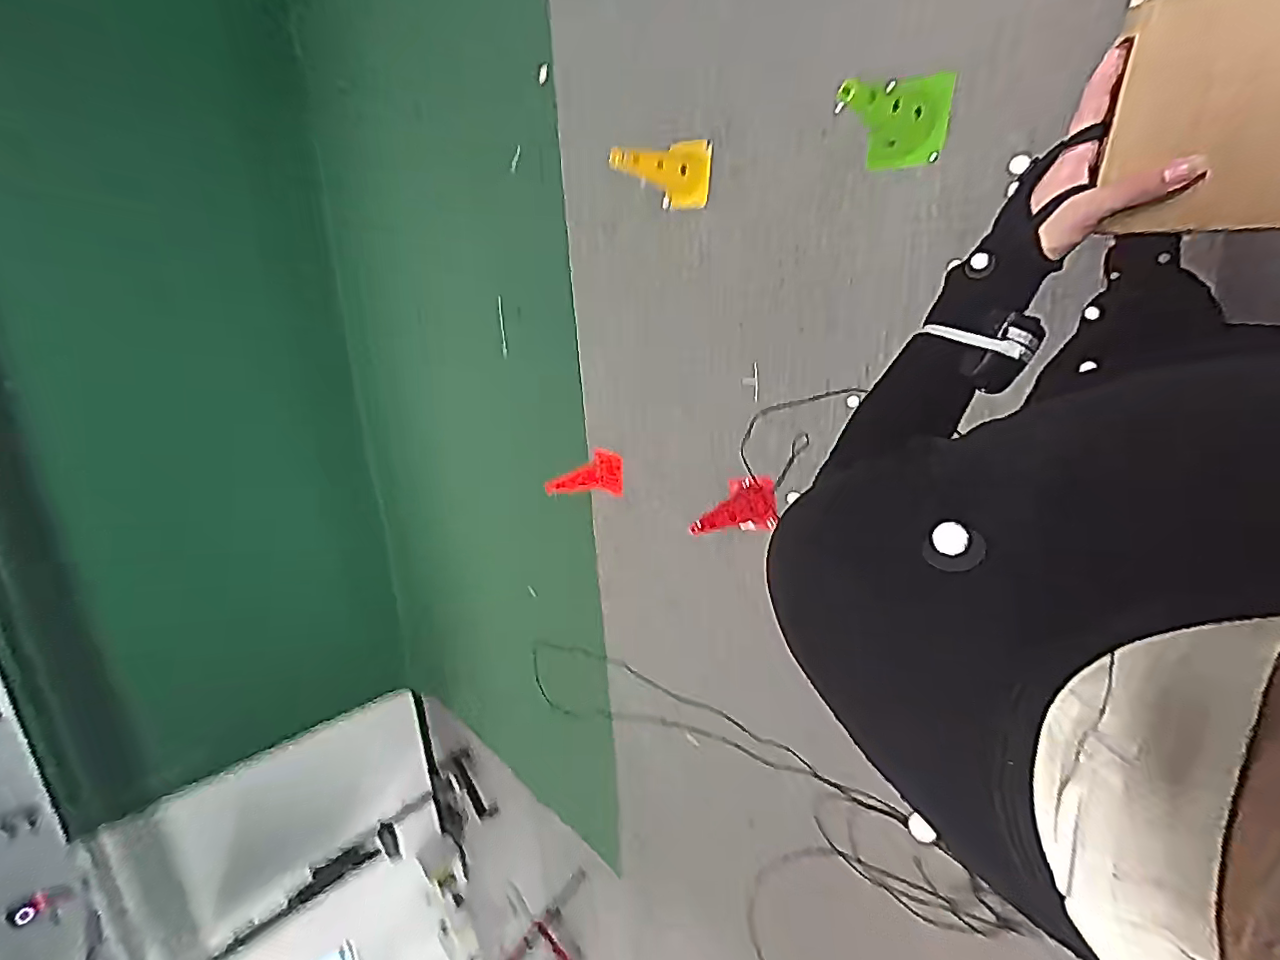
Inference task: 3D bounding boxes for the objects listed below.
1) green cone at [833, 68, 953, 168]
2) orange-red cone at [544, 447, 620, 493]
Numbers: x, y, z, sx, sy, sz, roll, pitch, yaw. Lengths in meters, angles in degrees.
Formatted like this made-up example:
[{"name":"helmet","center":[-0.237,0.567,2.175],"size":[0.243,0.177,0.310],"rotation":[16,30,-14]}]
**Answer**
[{"name":"green cone","center":[0.576,-0.907,1.304],"size":[0.202,0.368,0.200],"rotation":[19,115,43]},{"name":"orange-red cone","center":[-0.286,-0.011,2.496],"size":[0.198,0.360,0.199],"rotation":[21,118,42]}]
